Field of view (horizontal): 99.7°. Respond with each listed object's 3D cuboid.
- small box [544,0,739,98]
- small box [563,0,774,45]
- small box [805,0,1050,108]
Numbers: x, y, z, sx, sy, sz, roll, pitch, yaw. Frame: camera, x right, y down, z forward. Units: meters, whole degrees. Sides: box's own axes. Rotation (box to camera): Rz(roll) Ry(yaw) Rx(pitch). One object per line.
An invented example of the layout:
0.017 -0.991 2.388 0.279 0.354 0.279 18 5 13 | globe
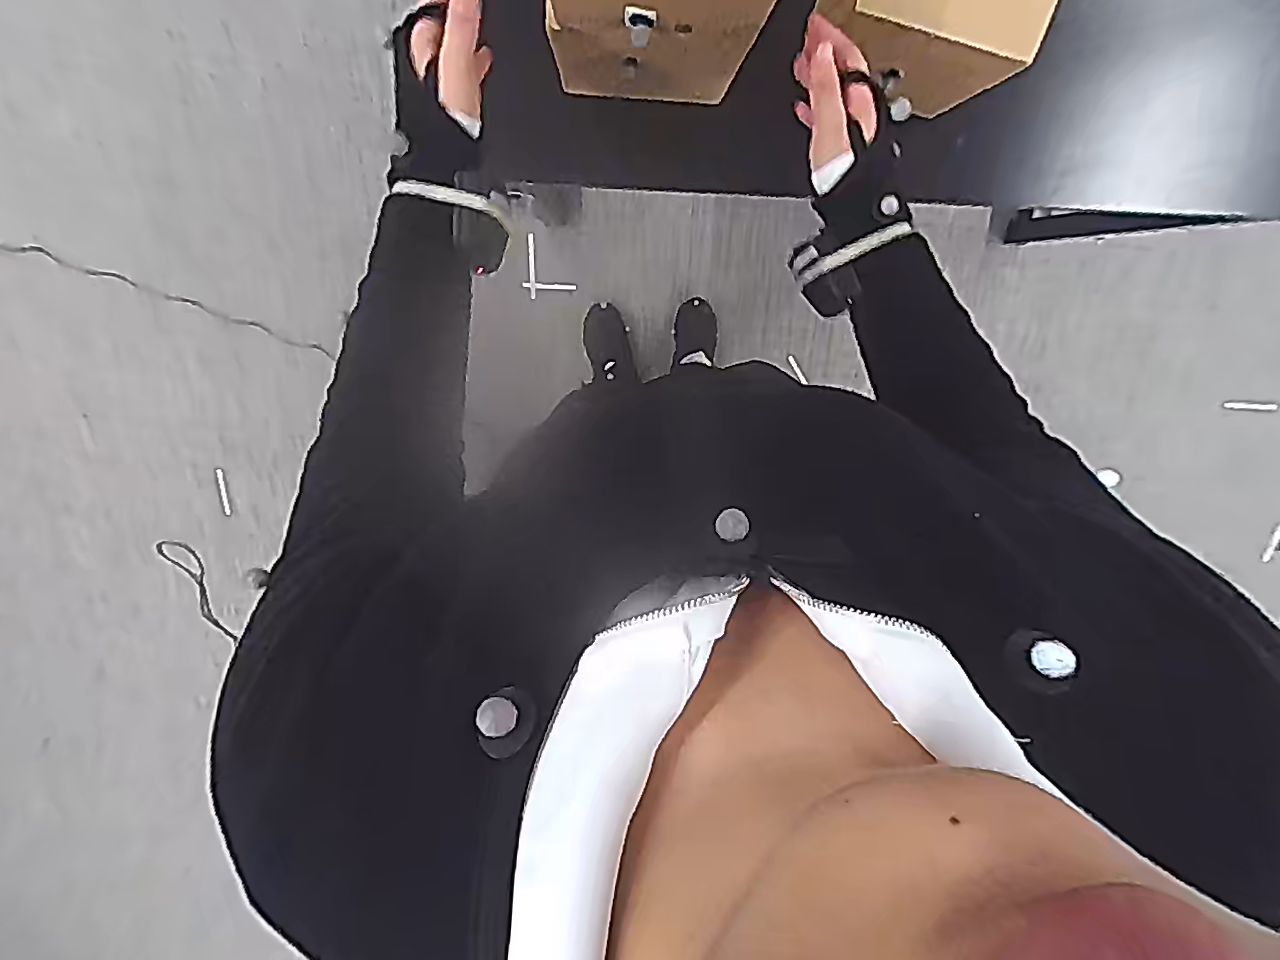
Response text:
0.011 -0.479 0.501 0.179 0.176 0.168 2 110 -2 | small box
0.022 -0.425 0.347 0.168 0.176 0.179 3 111 -2 | small box
0.273 -0.485 0.507 0.168 0.176 0.179 12 109 -6 | small box
